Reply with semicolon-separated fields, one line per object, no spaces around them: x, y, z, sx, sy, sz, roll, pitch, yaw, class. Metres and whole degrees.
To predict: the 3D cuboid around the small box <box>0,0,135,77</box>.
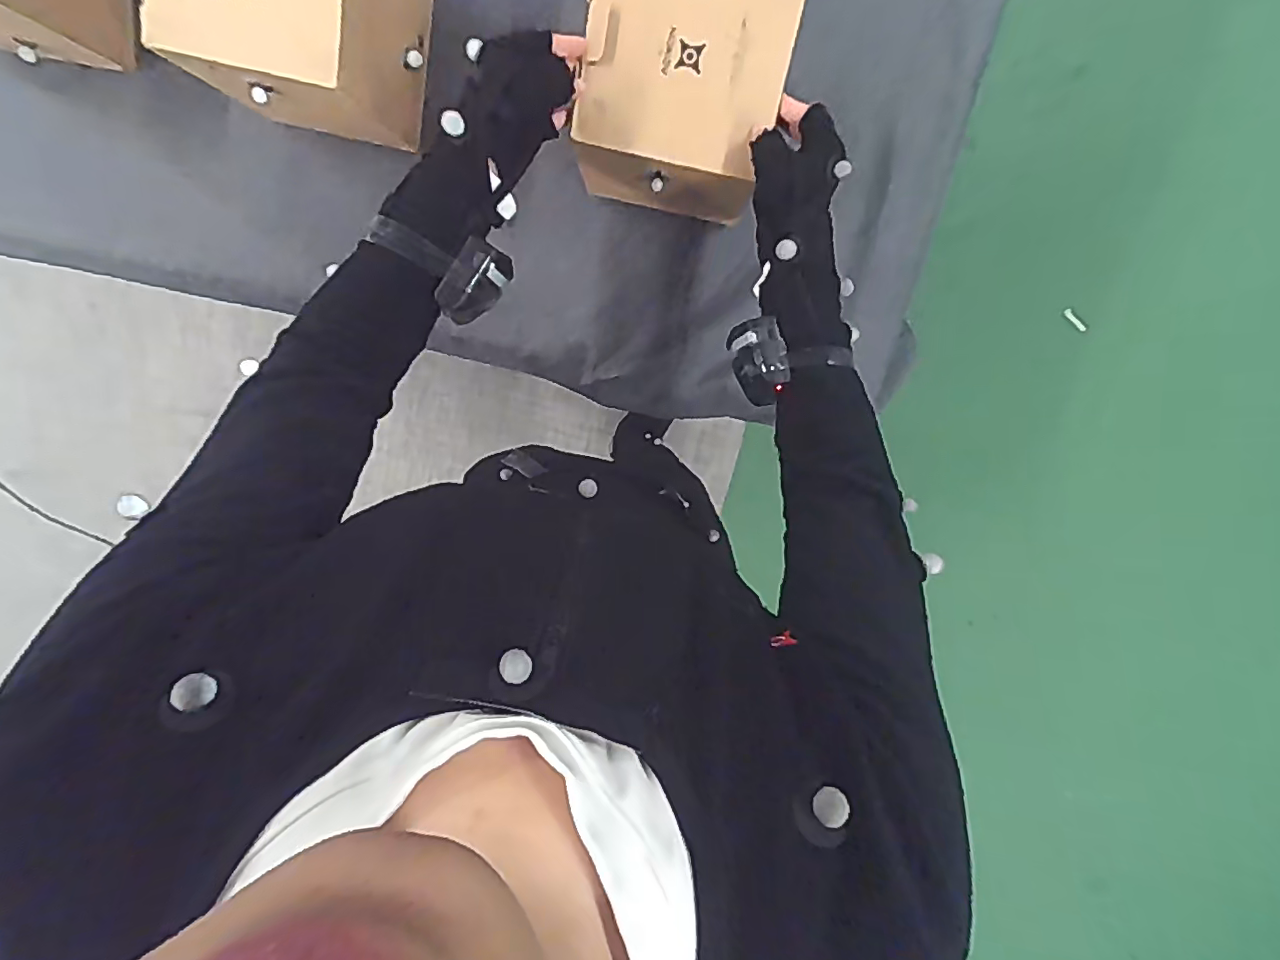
-0.650;-0.535;0.532;0.179;0.176;0.168;9;104;0;small box

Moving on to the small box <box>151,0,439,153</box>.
-0.326;-0.453;0.536;0.179;0.176;0.168;12;104;-1;small box

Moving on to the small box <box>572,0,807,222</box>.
0.042;-0.374;0.537;0.179;0.176;0.168;12;104;-2;small box
